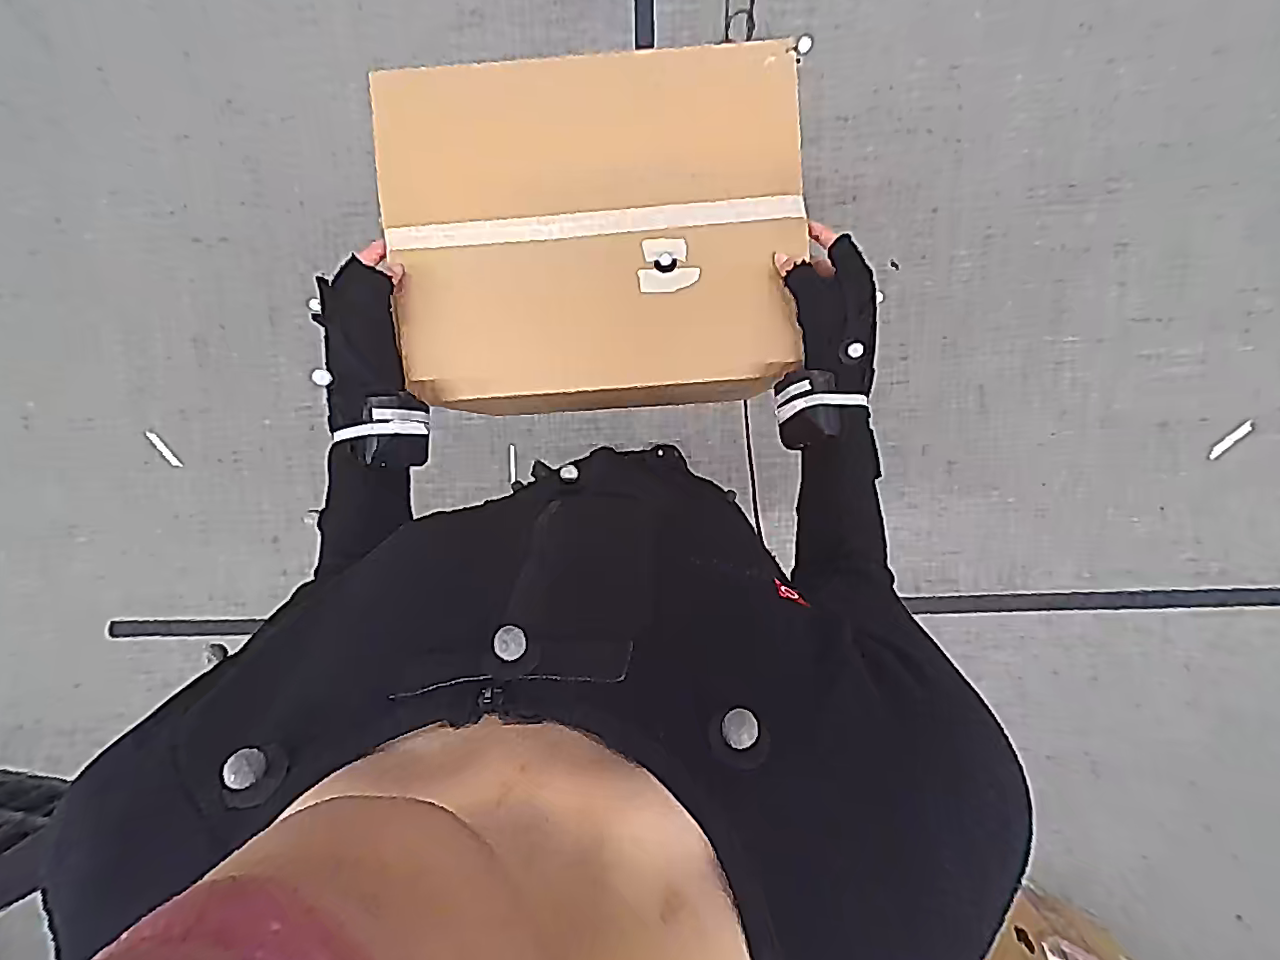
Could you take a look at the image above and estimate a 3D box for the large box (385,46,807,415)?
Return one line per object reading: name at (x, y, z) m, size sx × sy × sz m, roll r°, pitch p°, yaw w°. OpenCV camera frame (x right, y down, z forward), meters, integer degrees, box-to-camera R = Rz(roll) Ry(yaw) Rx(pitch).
large box at (-0.042, -0.261, 0.683) m, size 0.408 × 0.320 × 0.320 m, roll -4°, pitch 94°, yaw 1°
